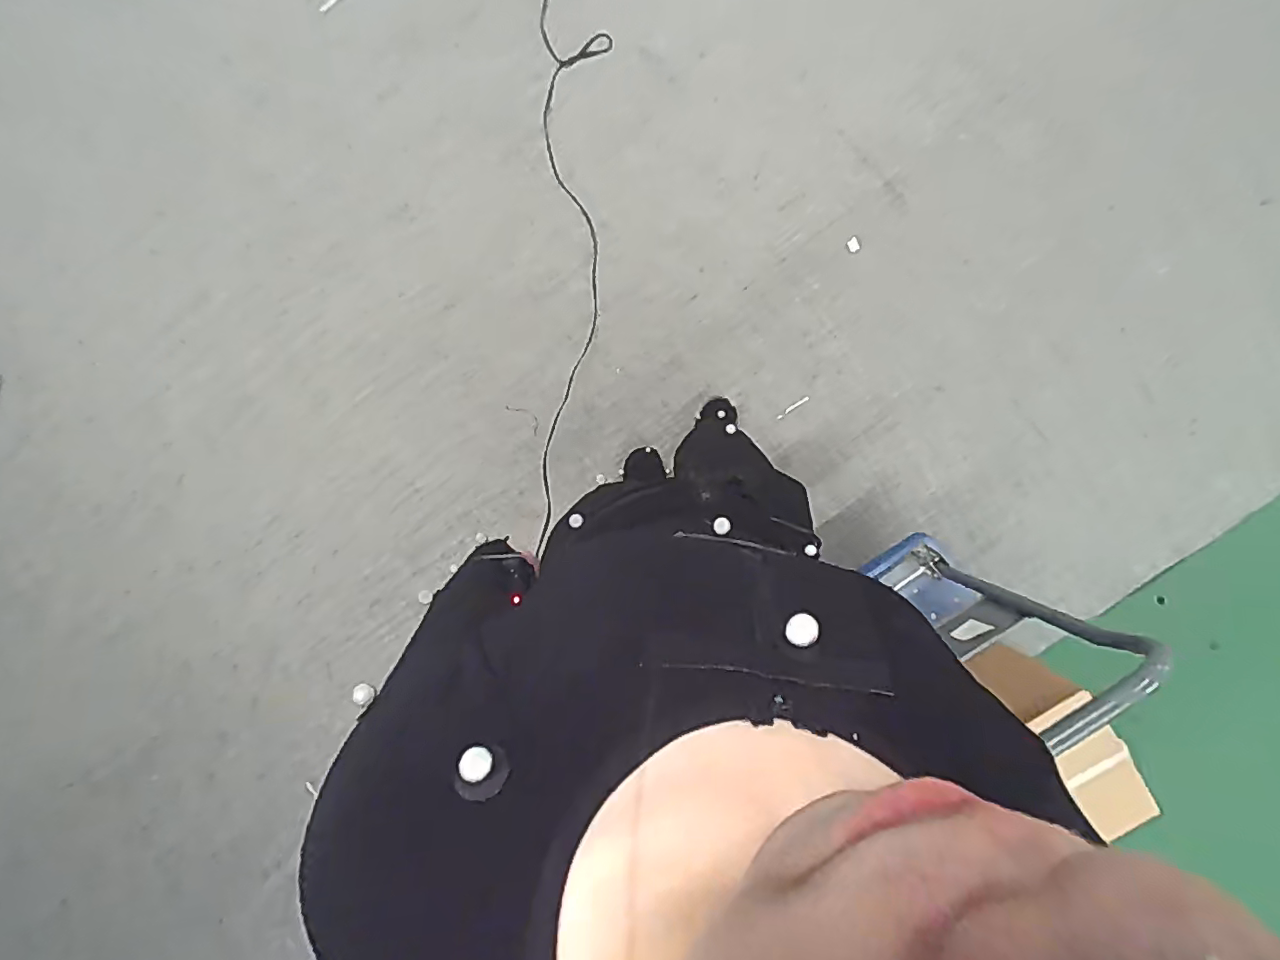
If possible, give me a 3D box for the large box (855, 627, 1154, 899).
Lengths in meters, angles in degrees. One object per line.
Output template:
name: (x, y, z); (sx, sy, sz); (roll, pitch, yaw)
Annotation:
large box: (0.787, 0.609, 1.229); (0.408, 0.320, 0.320); (-33, 93, 4)
